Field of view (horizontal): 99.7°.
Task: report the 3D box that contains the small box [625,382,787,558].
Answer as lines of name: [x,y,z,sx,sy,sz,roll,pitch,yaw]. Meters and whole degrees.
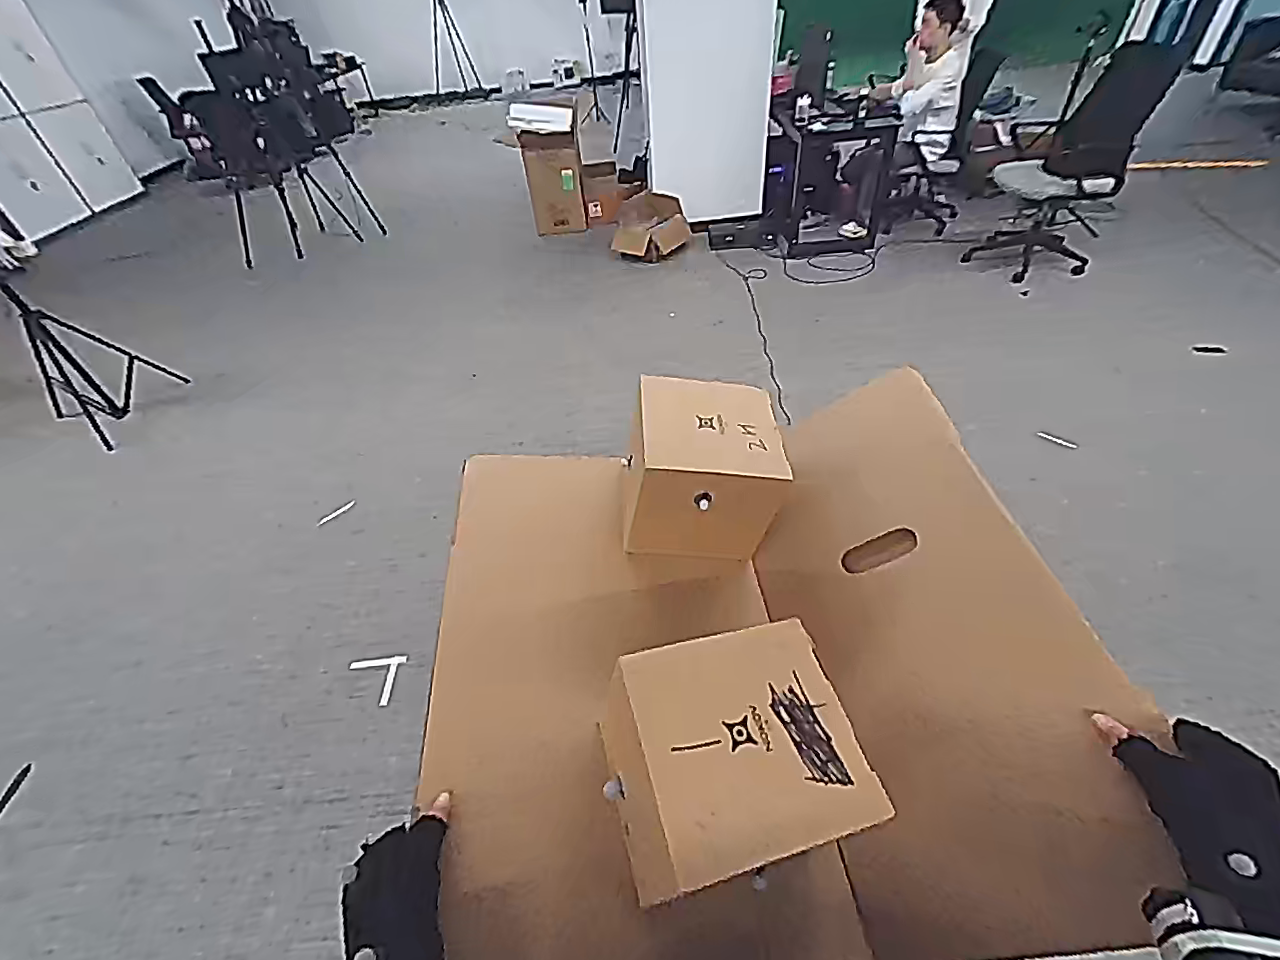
small box: [0.074,-0.009,0.730,0.179,0.176,0.168,5,49,-8]

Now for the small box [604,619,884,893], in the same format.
small box: [0.075,0.252,0.498,0.179,0.176,0.168,-7,51,-17]
